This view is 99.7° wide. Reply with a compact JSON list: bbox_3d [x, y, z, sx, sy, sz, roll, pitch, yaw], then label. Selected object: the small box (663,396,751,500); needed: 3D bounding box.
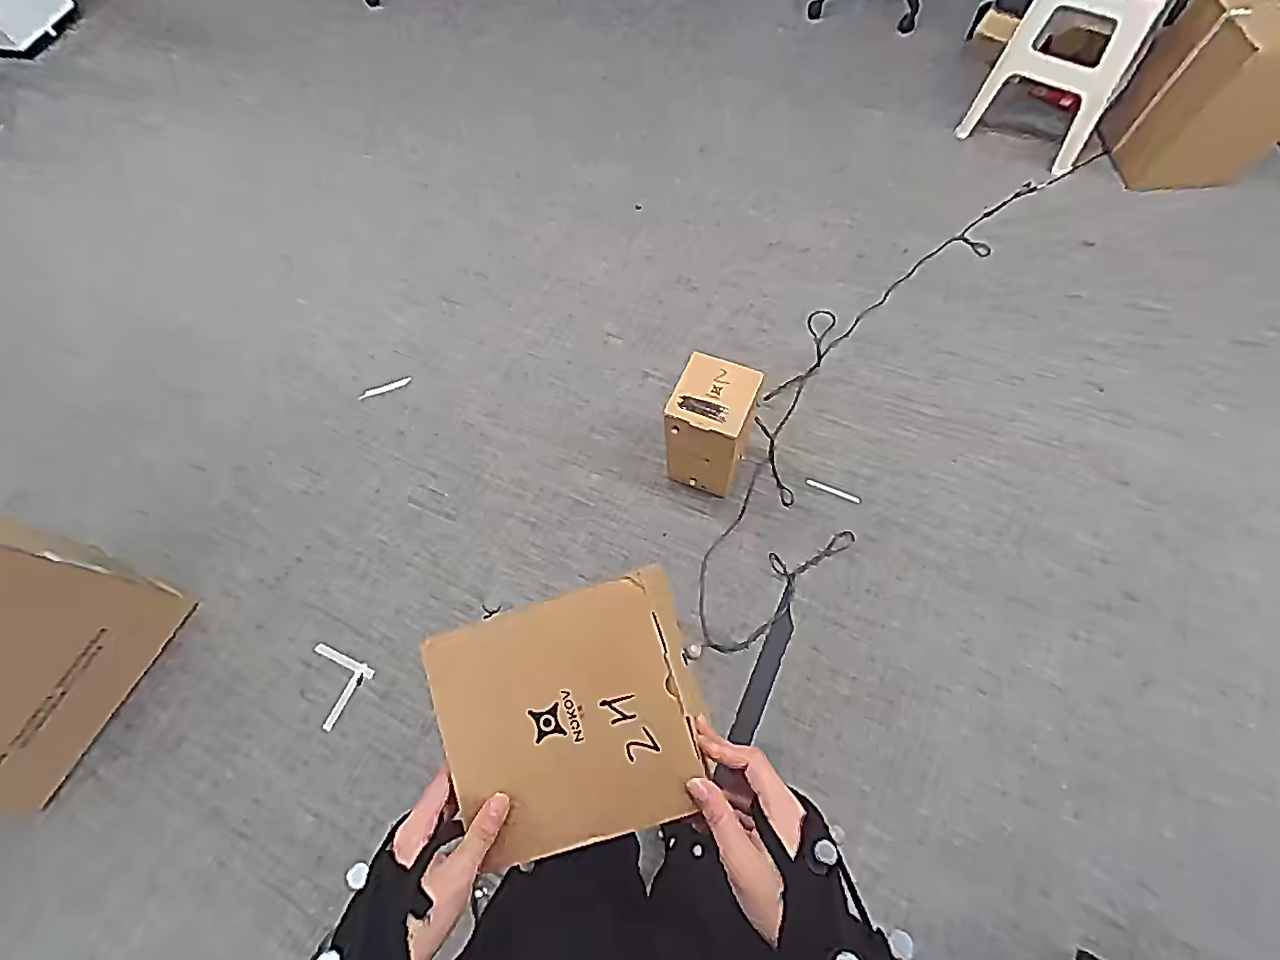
[{"bbox_3d":[0.167,-0.077,1.374,0.168,0.176,0.179,20,70,14],"label":"small box"}]
